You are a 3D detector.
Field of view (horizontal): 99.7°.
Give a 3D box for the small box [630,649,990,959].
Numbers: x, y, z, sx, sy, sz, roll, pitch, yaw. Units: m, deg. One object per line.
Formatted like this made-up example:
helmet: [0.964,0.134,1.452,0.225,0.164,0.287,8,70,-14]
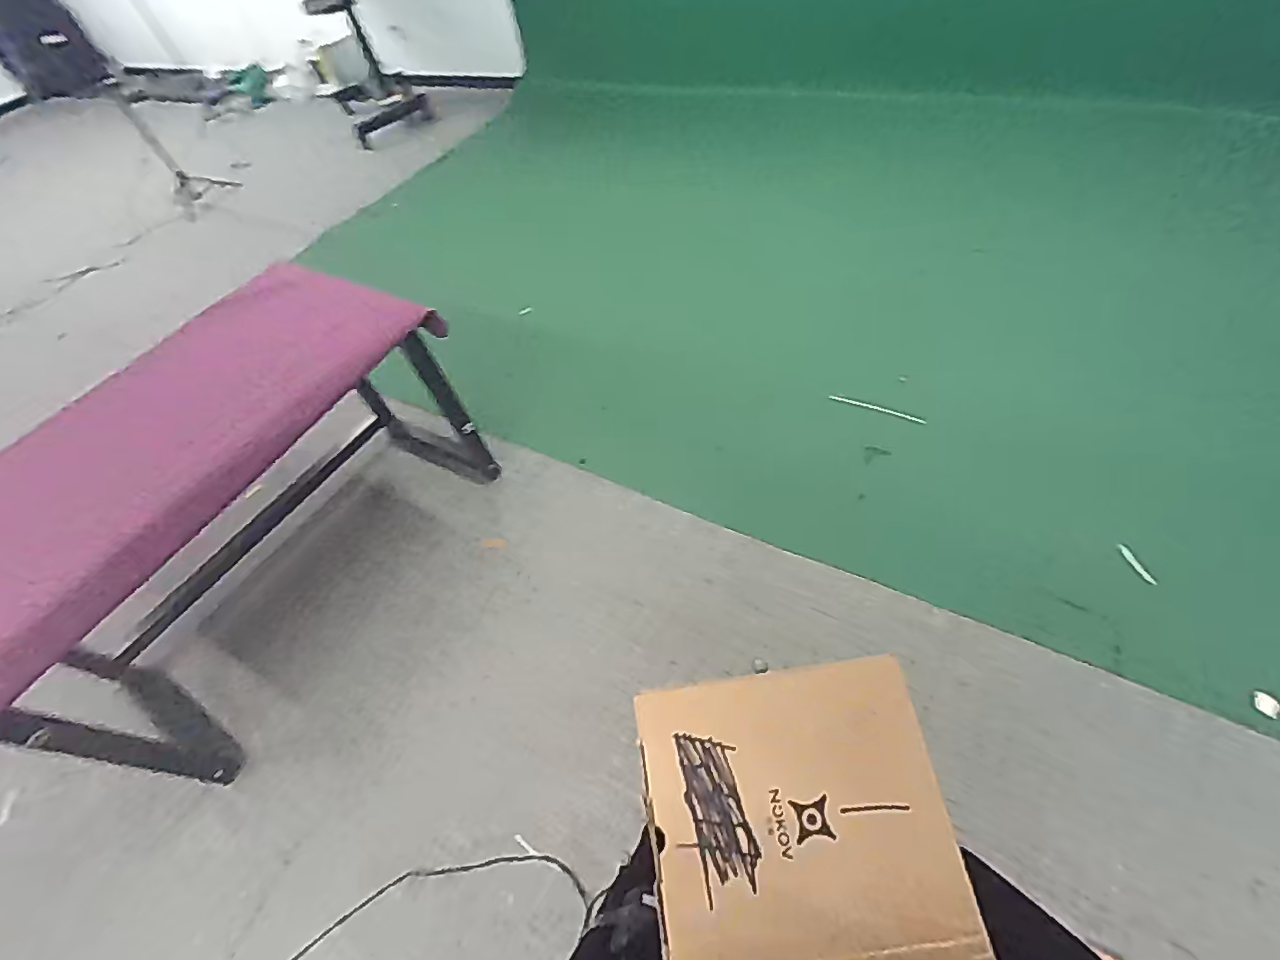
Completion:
small box: [0.095,0.228,0.390,0.179,0.176,0.168,-9,65,0]
